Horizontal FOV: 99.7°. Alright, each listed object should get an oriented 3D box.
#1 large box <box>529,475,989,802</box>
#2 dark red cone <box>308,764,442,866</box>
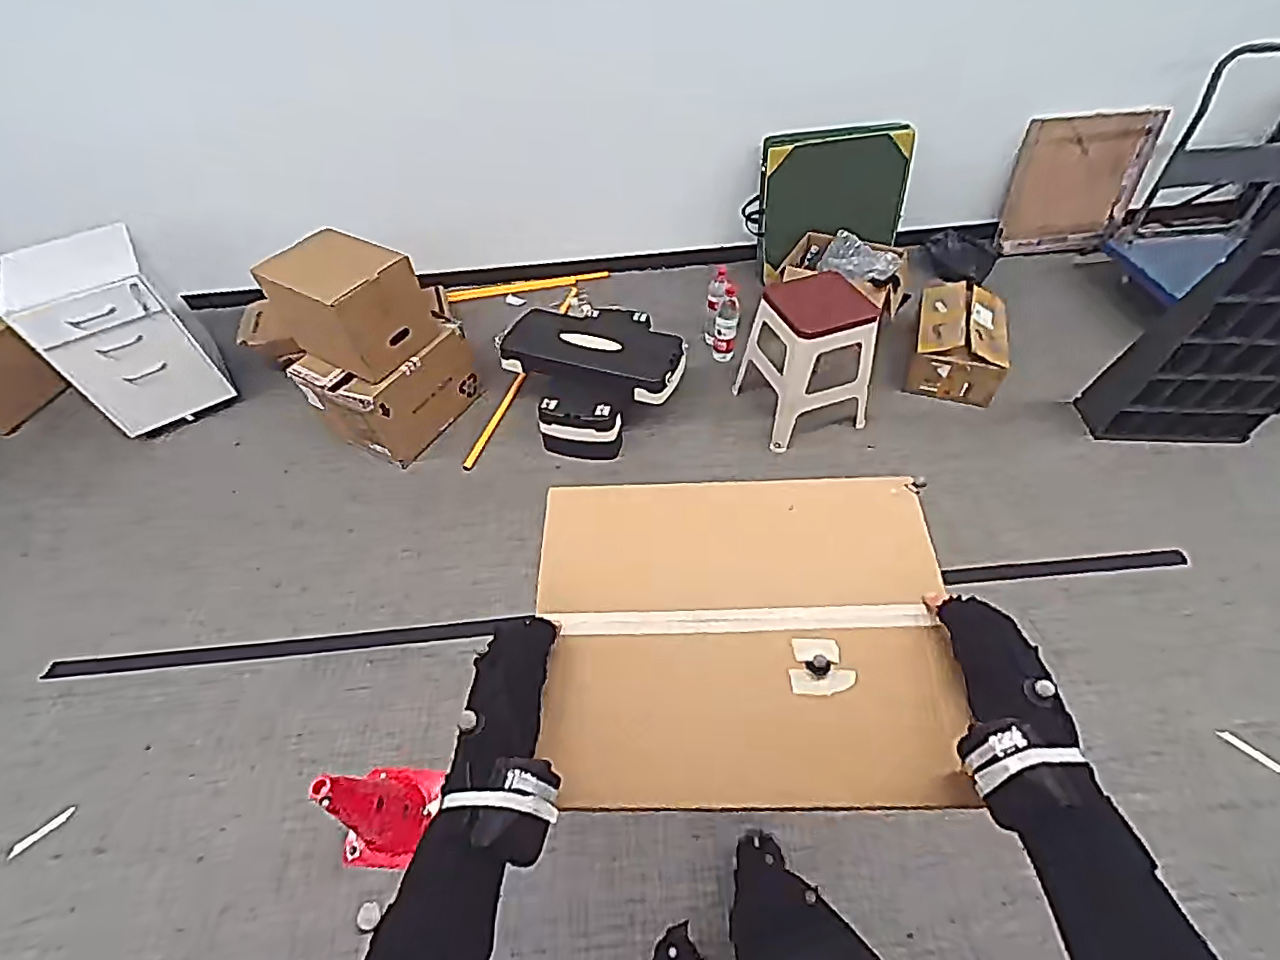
[{"bbox_3d":[0.103,0.211,0.665,0.408,0.320,0.320,-2,60,2],"label":"large box"},{"bbox_3d":[-0.582,0.669,1.132,0.201,0.394,0.202,0,51,3],"label":"dark red cone"}]
